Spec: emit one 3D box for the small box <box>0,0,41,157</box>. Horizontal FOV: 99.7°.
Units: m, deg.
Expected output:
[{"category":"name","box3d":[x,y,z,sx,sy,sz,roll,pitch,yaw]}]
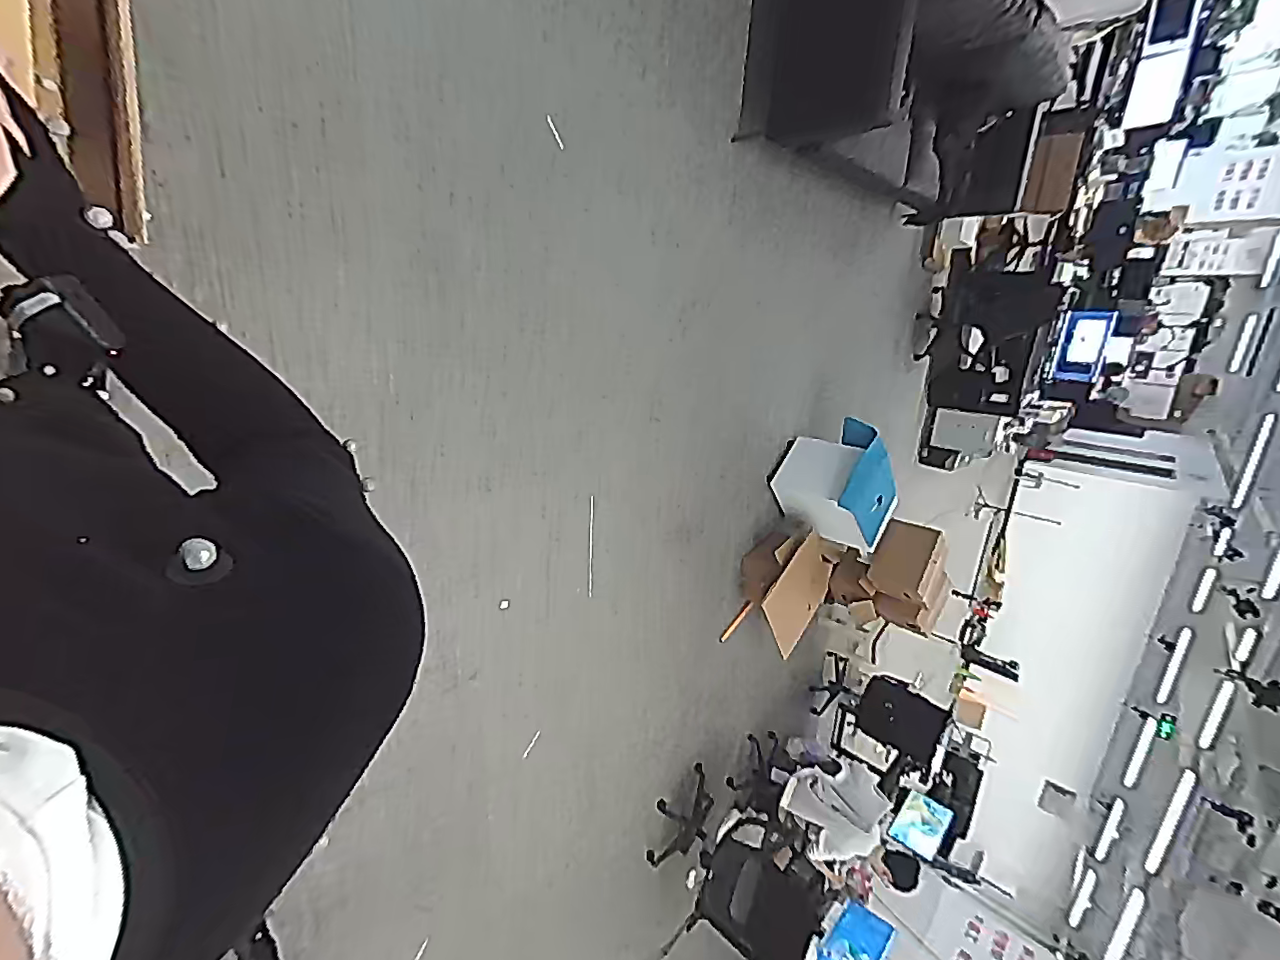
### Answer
[{"category":"small box","box3d":[-0.832,-0.509,0.632,0.168,0.176,0.179,-5,109,-47]}]
